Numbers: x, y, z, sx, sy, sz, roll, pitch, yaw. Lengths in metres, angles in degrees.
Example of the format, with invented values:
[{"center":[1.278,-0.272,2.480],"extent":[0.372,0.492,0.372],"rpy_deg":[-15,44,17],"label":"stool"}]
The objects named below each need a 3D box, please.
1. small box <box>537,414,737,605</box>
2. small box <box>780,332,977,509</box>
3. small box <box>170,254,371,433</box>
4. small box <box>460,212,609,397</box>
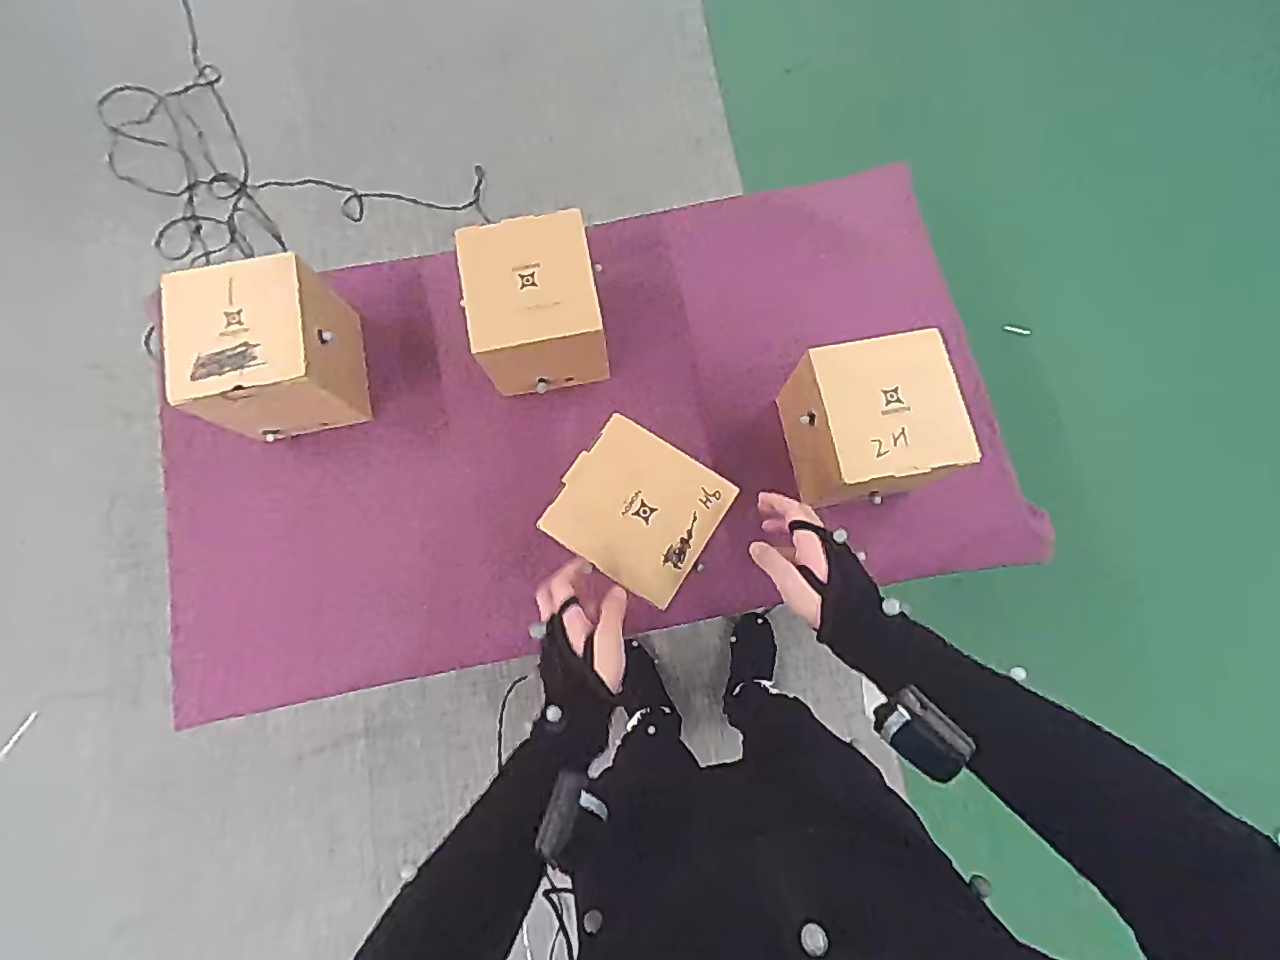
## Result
[{"center":[-0.002,0.050,0.697],"extent":[0.179,0.176,0.168],"rpy_deg":[33,79,8],"label":"small box"},{"center":[0.298,-0.070,0.720],"extent":[0.168,0.176,0.179],"rpy_deg":[-9,77,-1],"label":"small box"},{"center":[-0.492,-0.174,0.743],"extent":[0.168,0.176,0.179],"rpy_deg":[-11,78,-3],"label":"small box"},{"center":[-0.139,-0.236,0.759],"extent":[0.168,0.176,0.179],"rpy_deg":[-10,79,-1],"label":"small box"}]
